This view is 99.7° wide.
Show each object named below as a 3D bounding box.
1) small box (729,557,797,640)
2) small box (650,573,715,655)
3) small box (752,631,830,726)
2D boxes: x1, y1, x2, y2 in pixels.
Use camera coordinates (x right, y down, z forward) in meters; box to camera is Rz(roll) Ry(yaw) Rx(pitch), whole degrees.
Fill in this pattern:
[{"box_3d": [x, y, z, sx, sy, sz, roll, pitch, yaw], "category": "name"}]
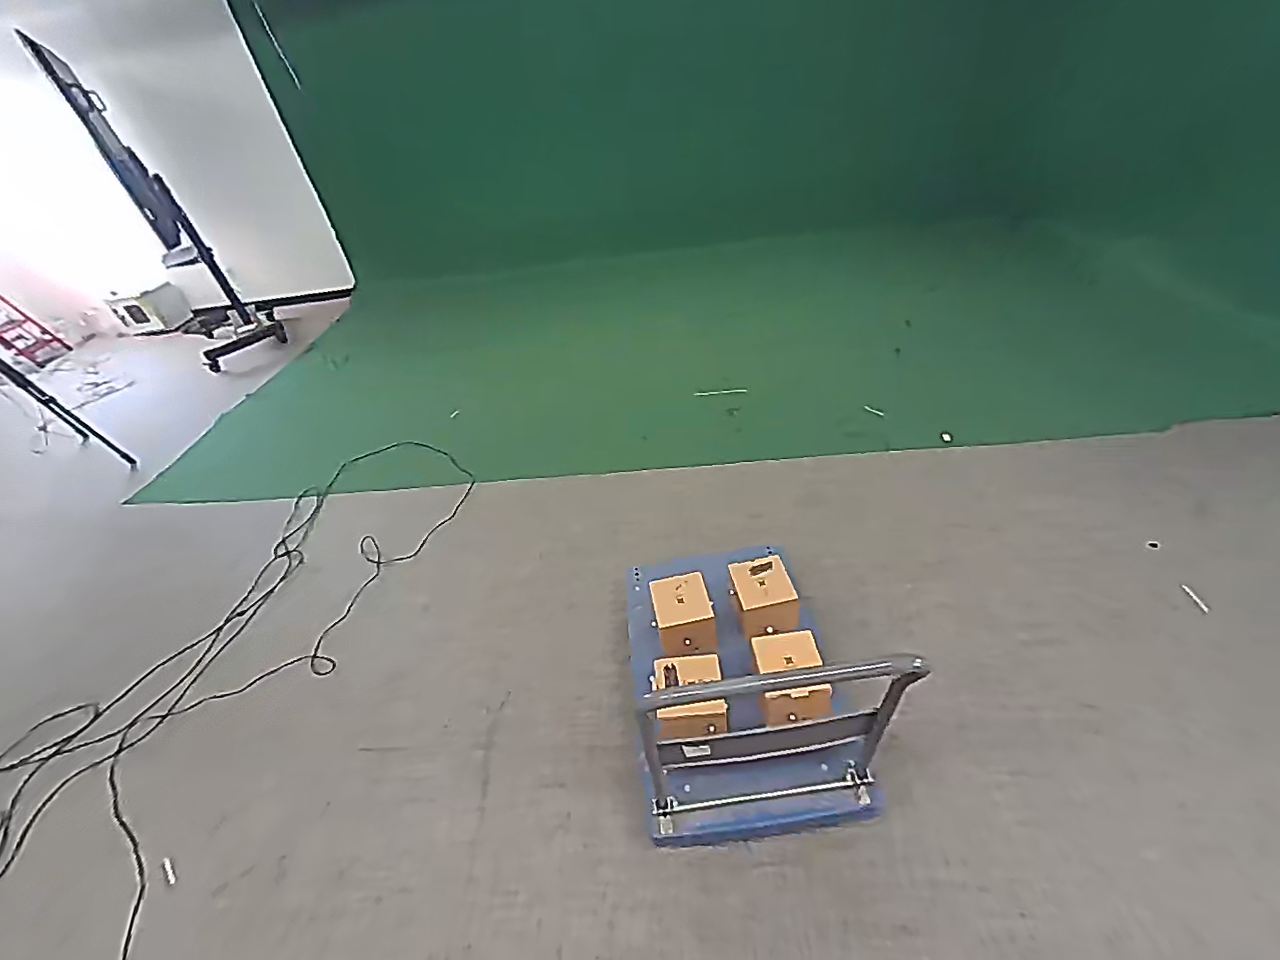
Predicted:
[{"box_3d": [0.379, 0.371, 1.691, 0.168, 0.176, 0.179, -12, 41, -1], "category": "small box"}, {"box_3d": [0.133, 0.423, 1.682, 0.168, 0.176, 0.179, -11, 40, -2], "category": "small box"}, {"box_3d": [0.405, 0.544, 1.484, 0.168, 0.176, 0.179, -9, 40, 1], "category": "small box"}]
